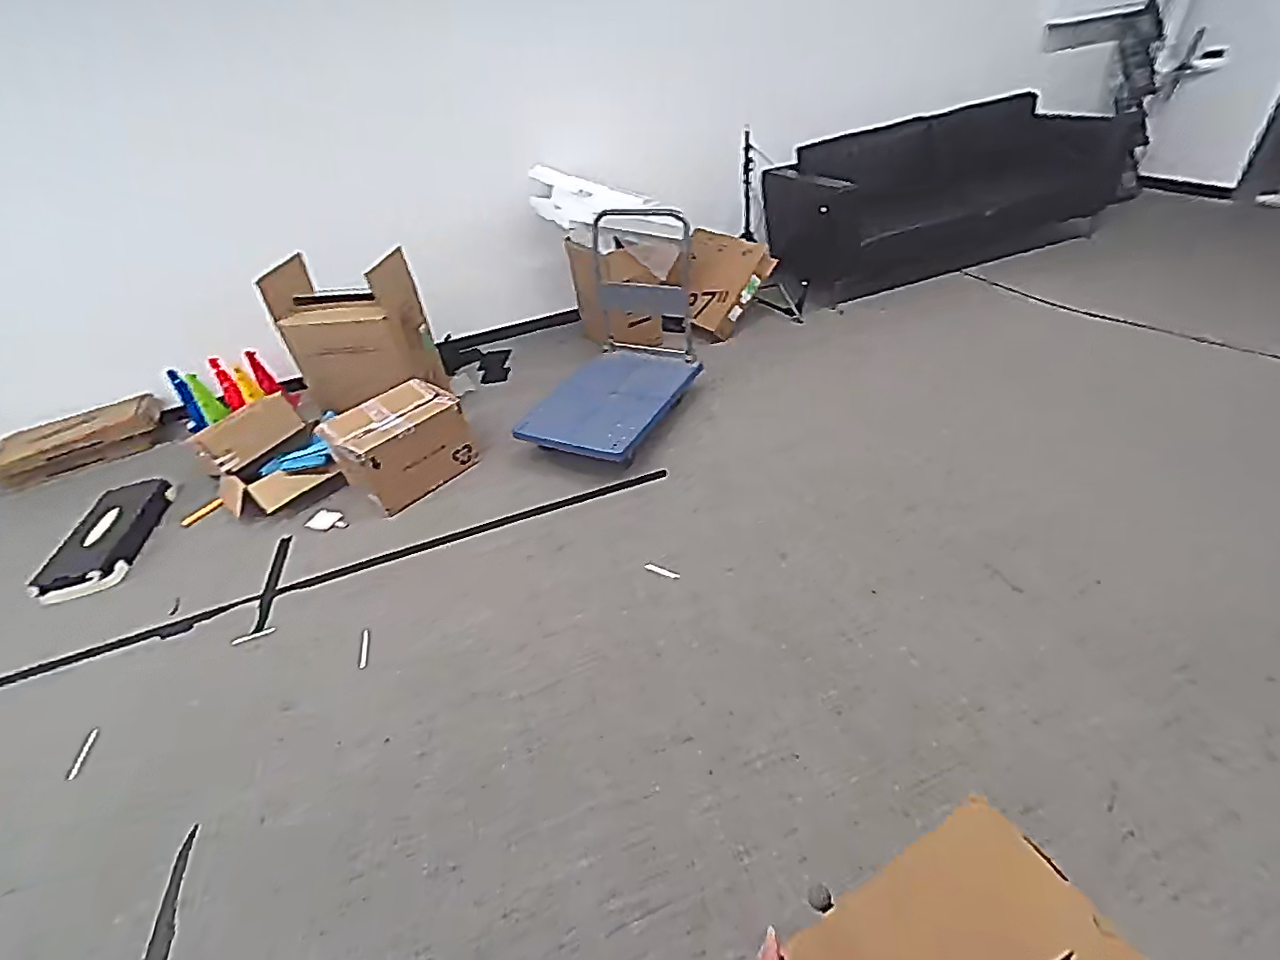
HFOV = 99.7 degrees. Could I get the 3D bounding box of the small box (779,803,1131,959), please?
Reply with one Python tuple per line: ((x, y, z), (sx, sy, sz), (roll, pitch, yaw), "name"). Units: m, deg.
((0.203, 0.354, 0.342), (0.179, 0.176, 0.168), (-24, 46, -16), "small box")
